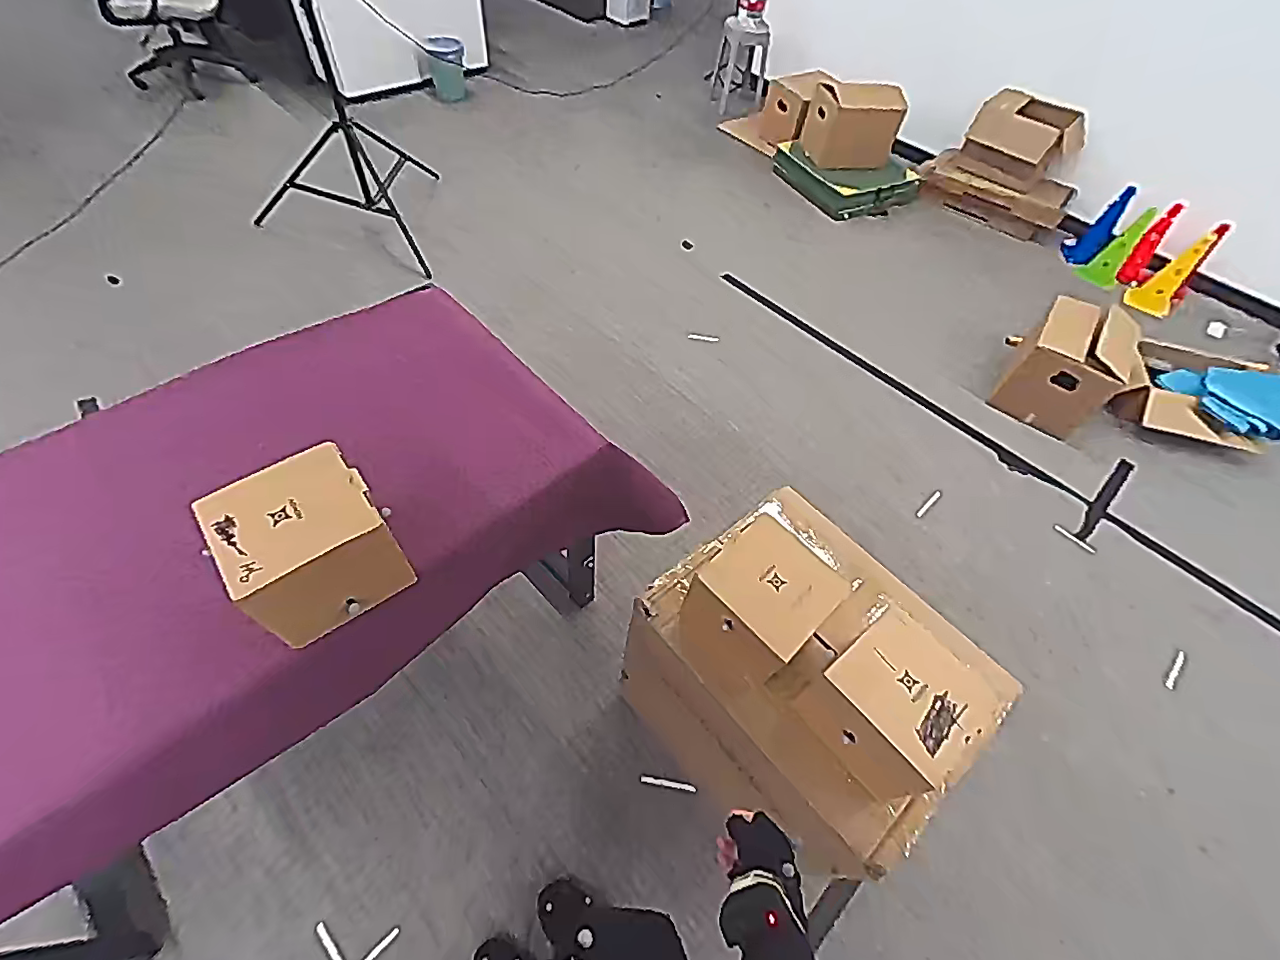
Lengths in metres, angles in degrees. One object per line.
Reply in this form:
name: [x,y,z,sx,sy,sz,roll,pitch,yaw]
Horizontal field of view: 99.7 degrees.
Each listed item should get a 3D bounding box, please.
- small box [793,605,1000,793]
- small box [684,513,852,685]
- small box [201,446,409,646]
small box: [0.354,0.320,0.777,0.168,0.176,0.179,-32,61,-24]
small box: [0.189,0.192,0.856,0.168,0.176,0.179,-36,66,-25]
small box: [-0.438,0.091,0.738,0.179,0.176,0.168,-31,62,-26]
